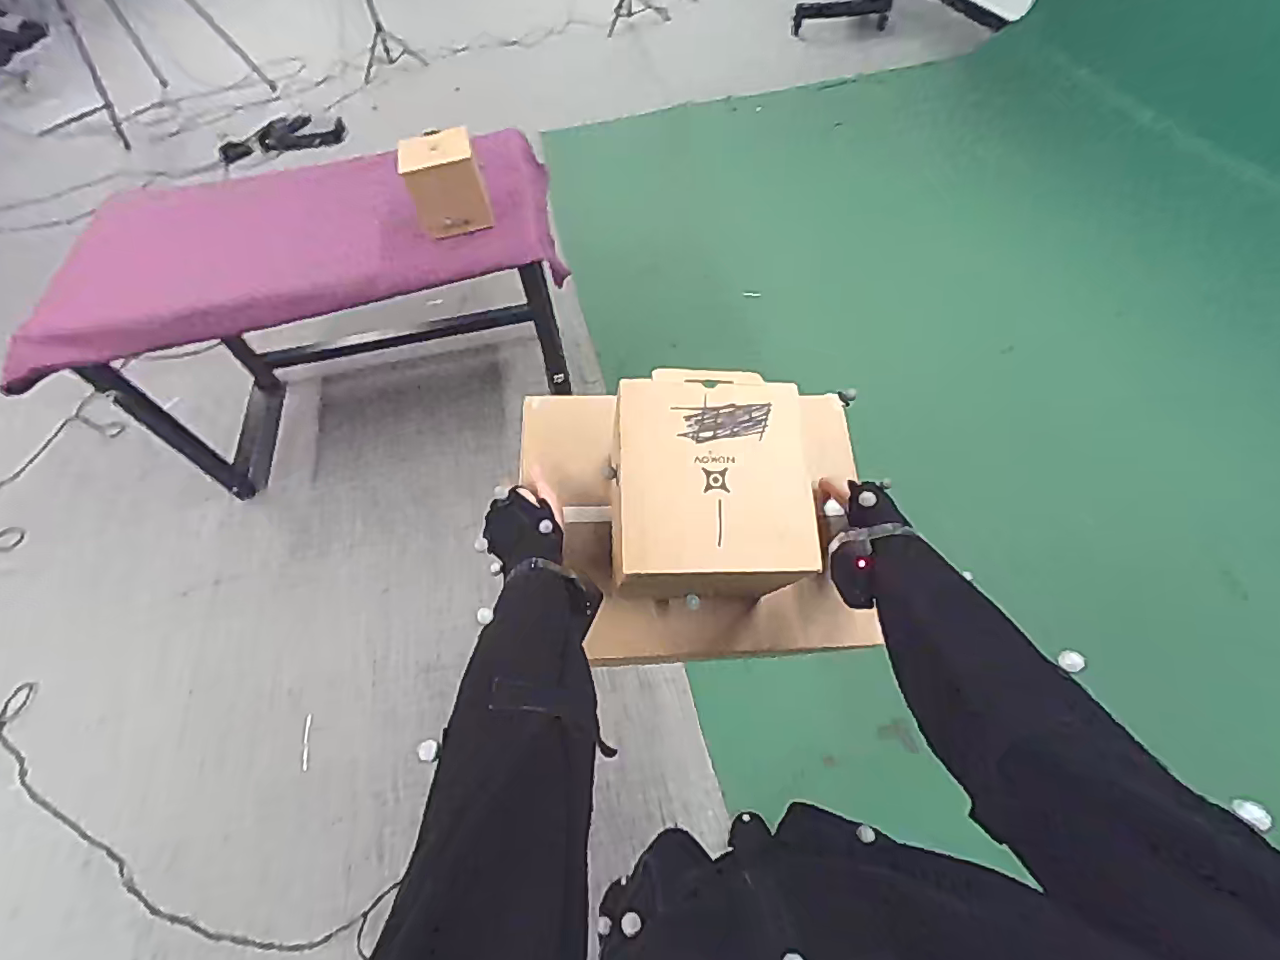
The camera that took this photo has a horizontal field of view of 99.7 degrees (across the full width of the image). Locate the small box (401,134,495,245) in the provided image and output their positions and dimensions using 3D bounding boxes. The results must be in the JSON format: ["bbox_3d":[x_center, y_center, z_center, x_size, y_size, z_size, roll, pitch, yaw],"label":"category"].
[{"bbox_3d":[-0.463,-0.704,1.316,0.168,0.176,0.179,-16,55,-4],"label":"small box"}]

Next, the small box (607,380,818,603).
[{"bbox_3d":[0.053,0.021,0.529,0.168,0.176,0.179,0,71,-5],"label":"small box"}]
